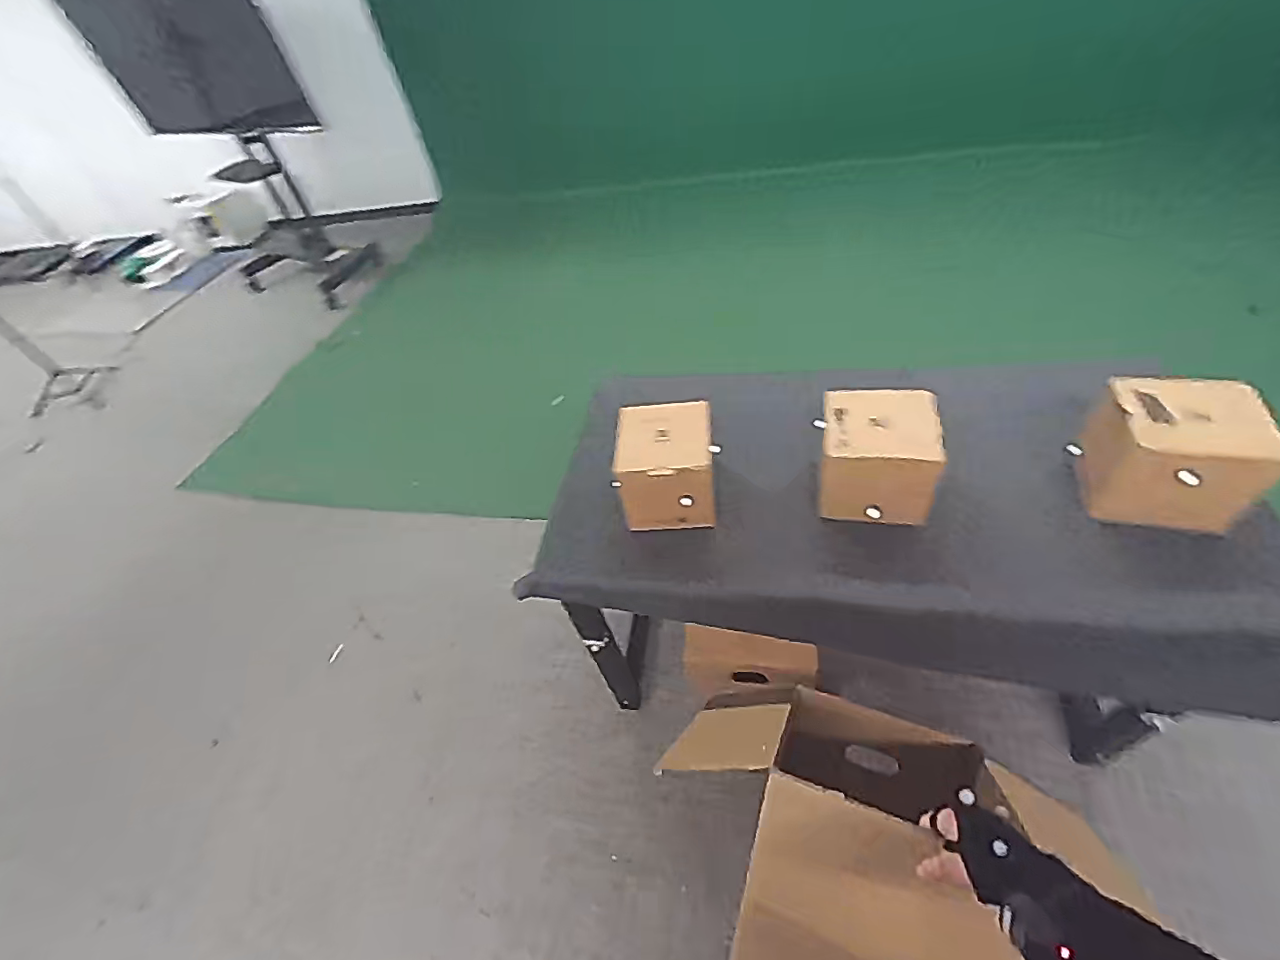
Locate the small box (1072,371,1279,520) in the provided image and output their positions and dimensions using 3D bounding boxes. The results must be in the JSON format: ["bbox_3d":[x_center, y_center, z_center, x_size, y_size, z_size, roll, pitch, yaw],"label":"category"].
[{"bbox_3d":[0.830,-0.054,0.864,0.179,0.176,0.168,7,51,18],"label":"small box"}]

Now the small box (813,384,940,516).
[{"bbox_3d":[0.410,-0.052,0.964,0.179,0.176,0.168,4,50,15],"label":"small box"}]

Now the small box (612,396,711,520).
[{"bbox_3d":[0.048,-0.035,1.034,0.168,0.176,0.179,-4,46,8],"label":"small box"}]
